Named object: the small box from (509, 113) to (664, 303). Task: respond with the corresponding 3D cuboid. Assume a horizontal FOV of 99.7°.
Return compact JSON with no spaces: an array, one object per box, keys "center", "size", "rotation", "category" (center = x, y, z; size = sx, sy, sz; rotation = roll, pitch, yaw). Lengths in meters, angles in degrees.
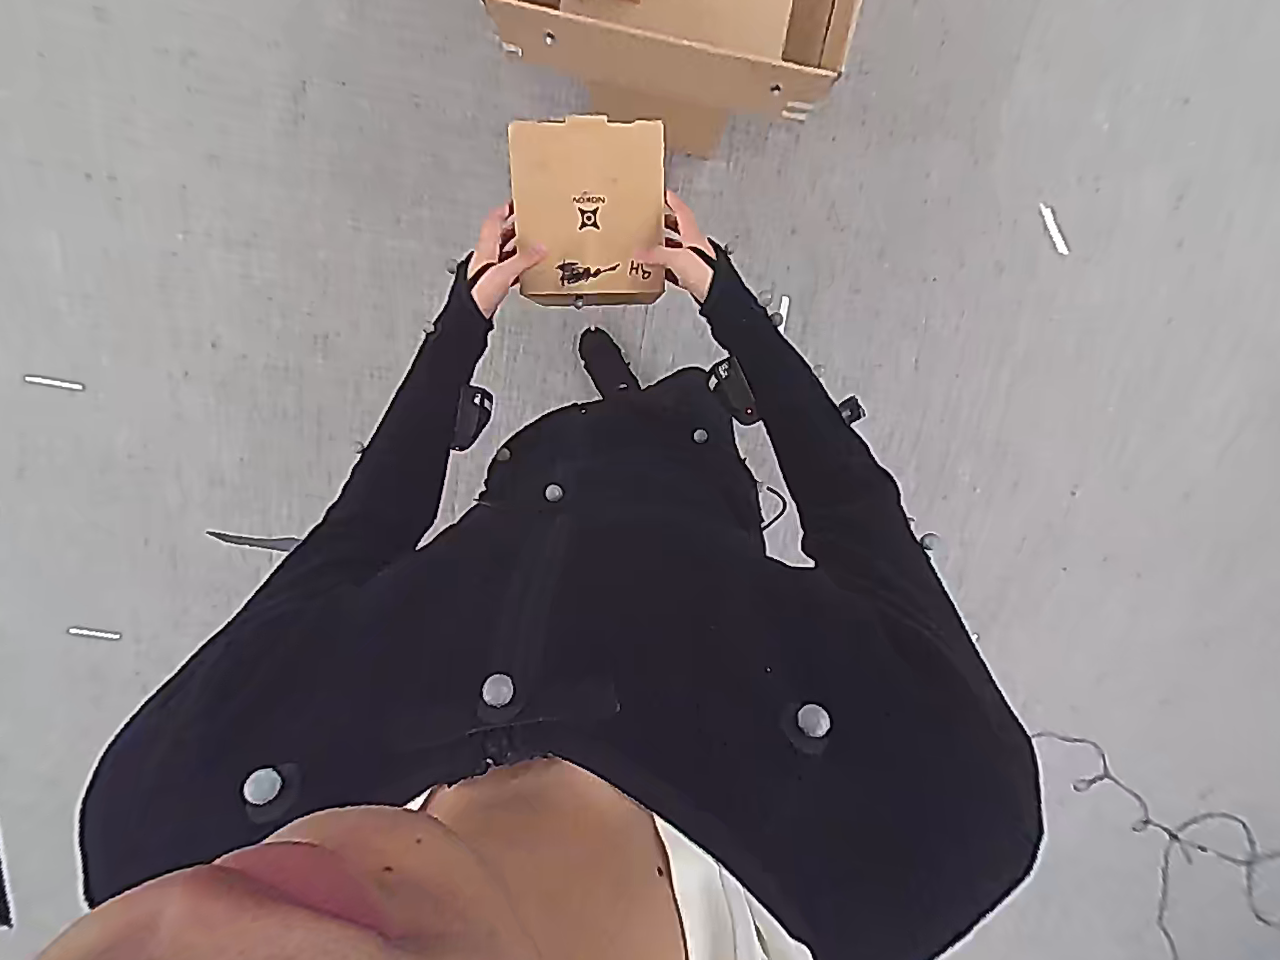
[{"center":[-0.060,-0.316,0.662],"size":[0.168,0.176,0.179],"rotation":[-1,104,-2],"category":"small box"}]
